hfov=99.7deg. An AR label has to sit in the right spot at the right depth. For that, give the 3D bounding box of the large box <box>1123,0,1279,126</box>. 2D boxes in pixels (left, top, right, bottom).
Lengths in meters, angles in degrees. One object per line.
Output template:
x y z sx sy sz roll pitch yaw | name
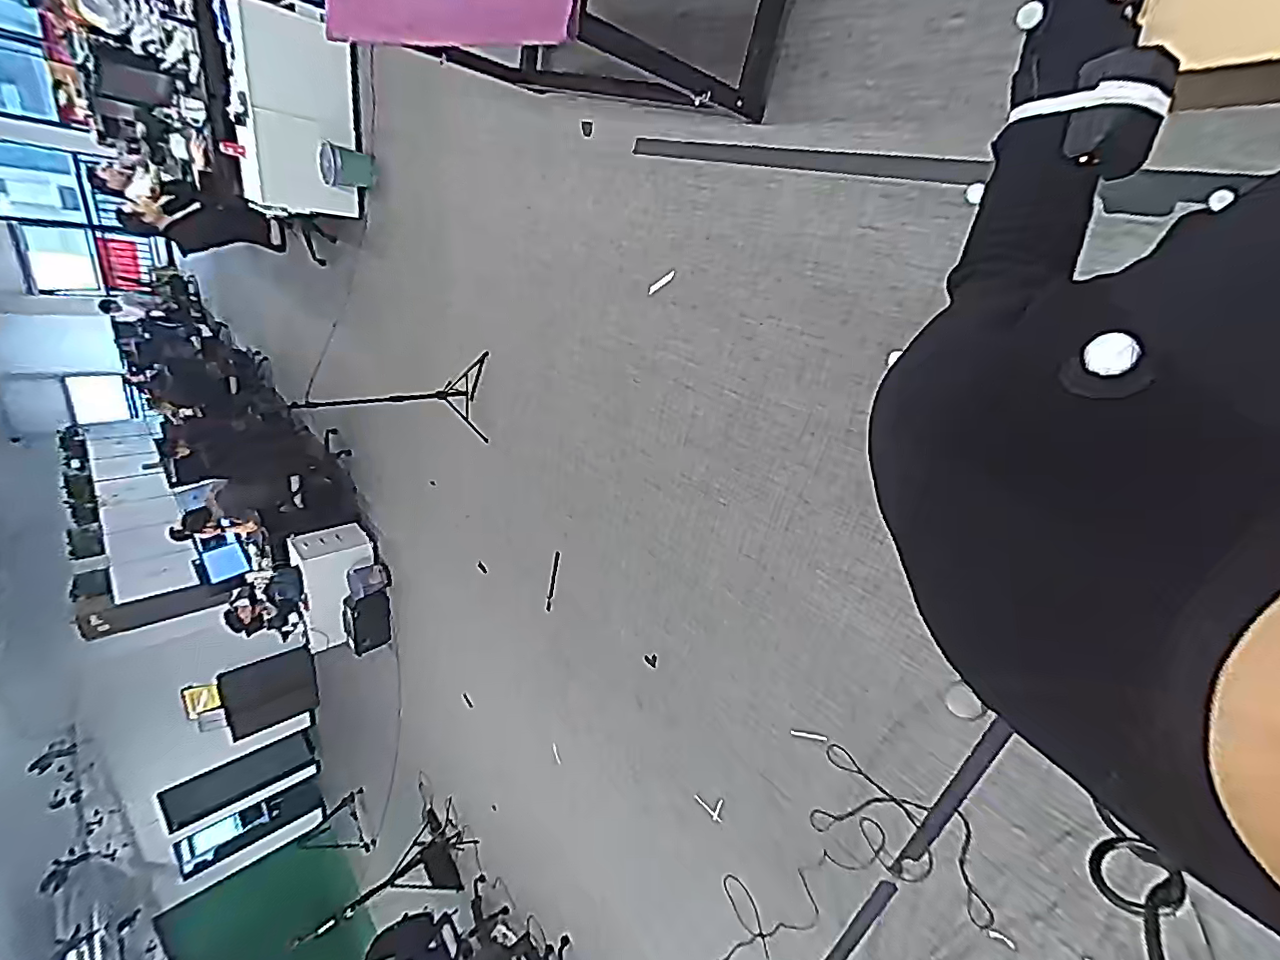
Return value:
0.589 -0.416 0.304 0.408 0.320 0.320 21 126 38 | large box
